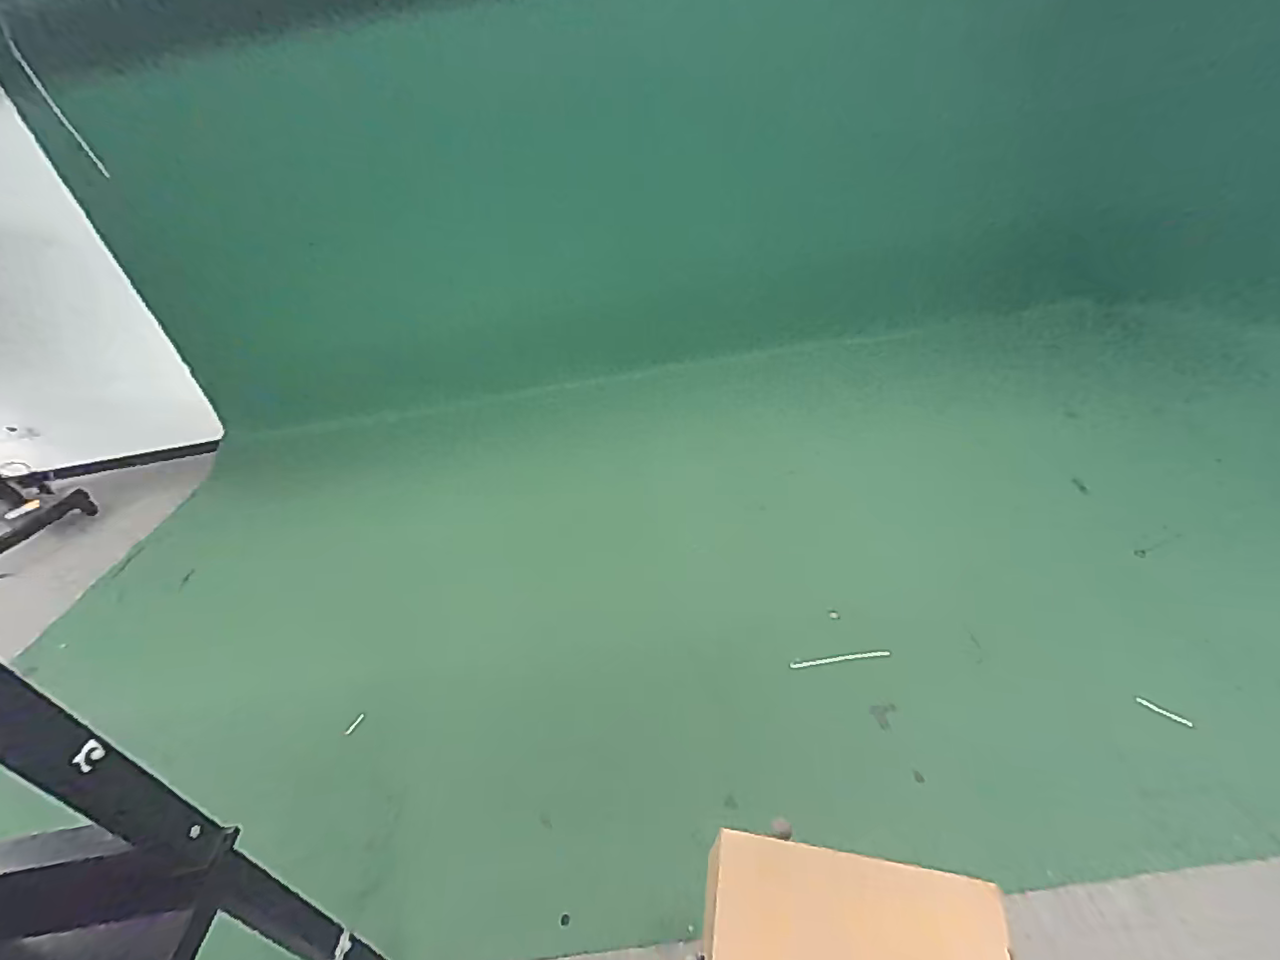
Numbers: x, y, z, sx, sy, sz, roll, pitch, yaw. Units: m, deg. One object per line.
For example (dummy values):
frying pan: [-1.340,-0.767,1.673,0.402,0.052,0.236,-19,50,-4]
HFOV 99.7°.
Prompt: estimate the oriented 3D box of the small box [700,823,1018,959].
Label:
small box: [0.126,0.346,0.355,0.179,0.176,0.168,6,53,9]
